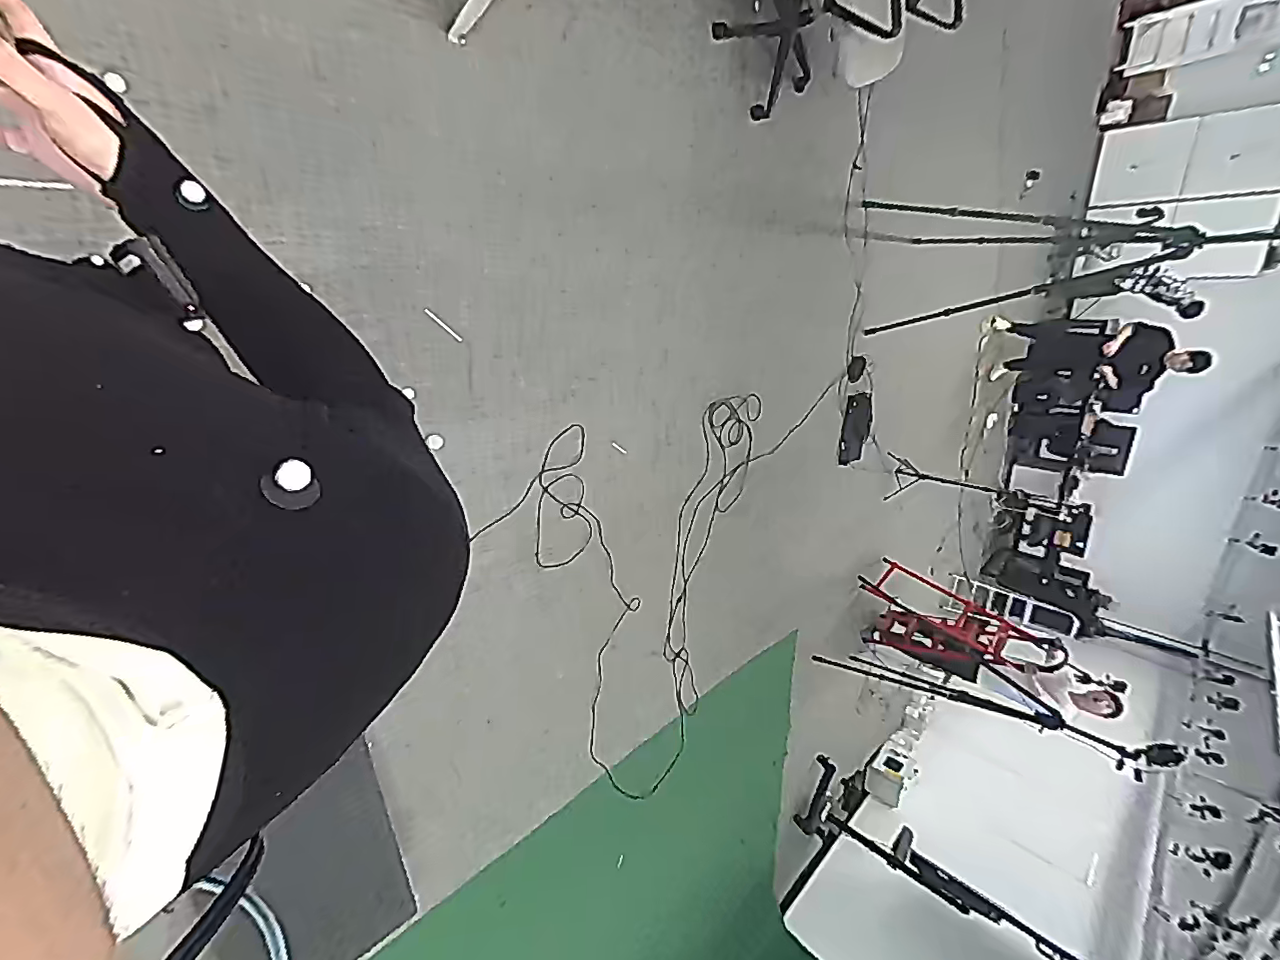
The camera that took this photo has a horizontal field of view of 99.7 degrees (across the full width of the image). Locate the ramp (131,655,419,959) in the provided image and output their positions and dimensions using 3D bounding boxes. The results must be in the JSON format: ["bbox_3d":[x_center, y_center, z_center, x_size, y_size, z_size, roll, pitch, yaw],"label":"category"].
[{"bbox_3d":[-1.018,1.068,1.598,0.509,0.206,0.991,-21,117,-38],"label":"ramp"}]
